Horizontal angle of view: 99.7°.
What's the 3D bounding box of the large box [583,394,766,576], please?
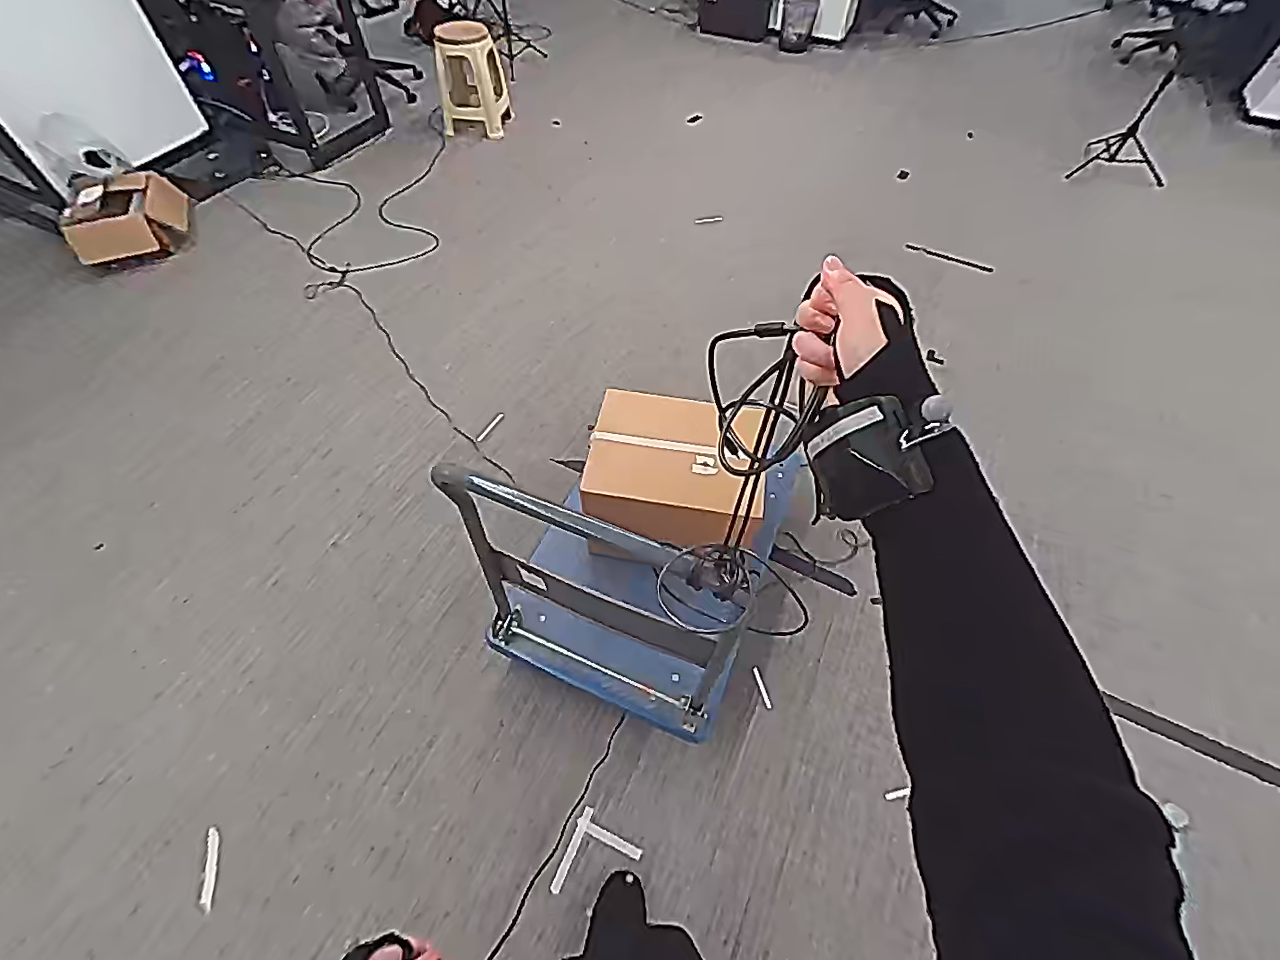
[{"bbox_3d":[0.085,0.020,1.375,0.408,0.320,0.320,9,57,4],"label":"large box"}]
